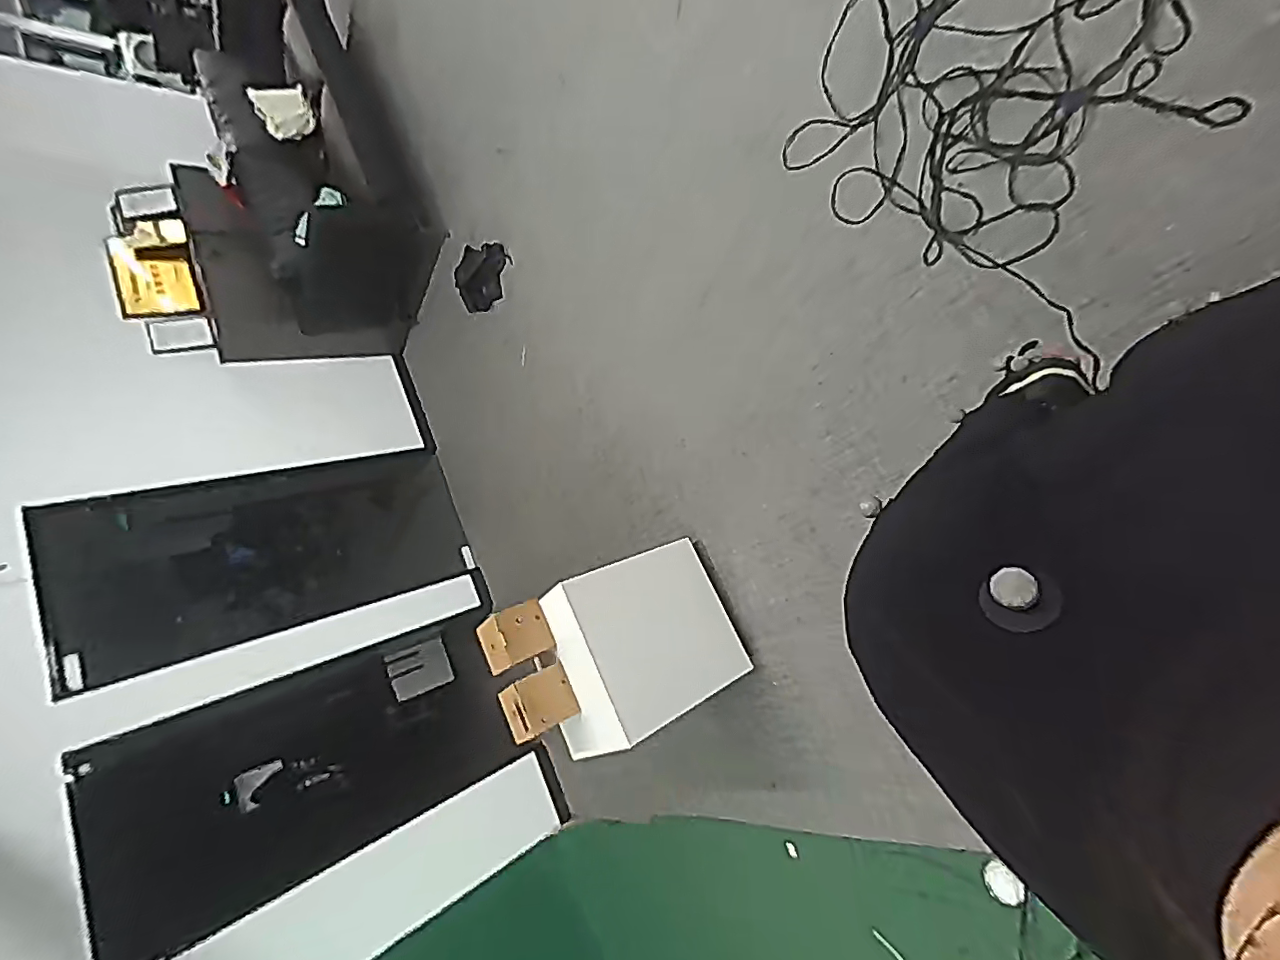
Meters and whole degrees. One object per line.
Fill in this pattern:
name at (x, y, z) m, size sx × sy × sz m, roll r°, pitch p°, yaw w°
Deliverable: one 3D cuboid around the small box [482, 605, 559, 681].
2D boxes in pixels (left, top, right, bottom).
small box at (-0.385, 0.527, 1.757) m, size 0.179 × 0.176 × 0.168 m, roll -44°, pitch 66°, yaw 48°
